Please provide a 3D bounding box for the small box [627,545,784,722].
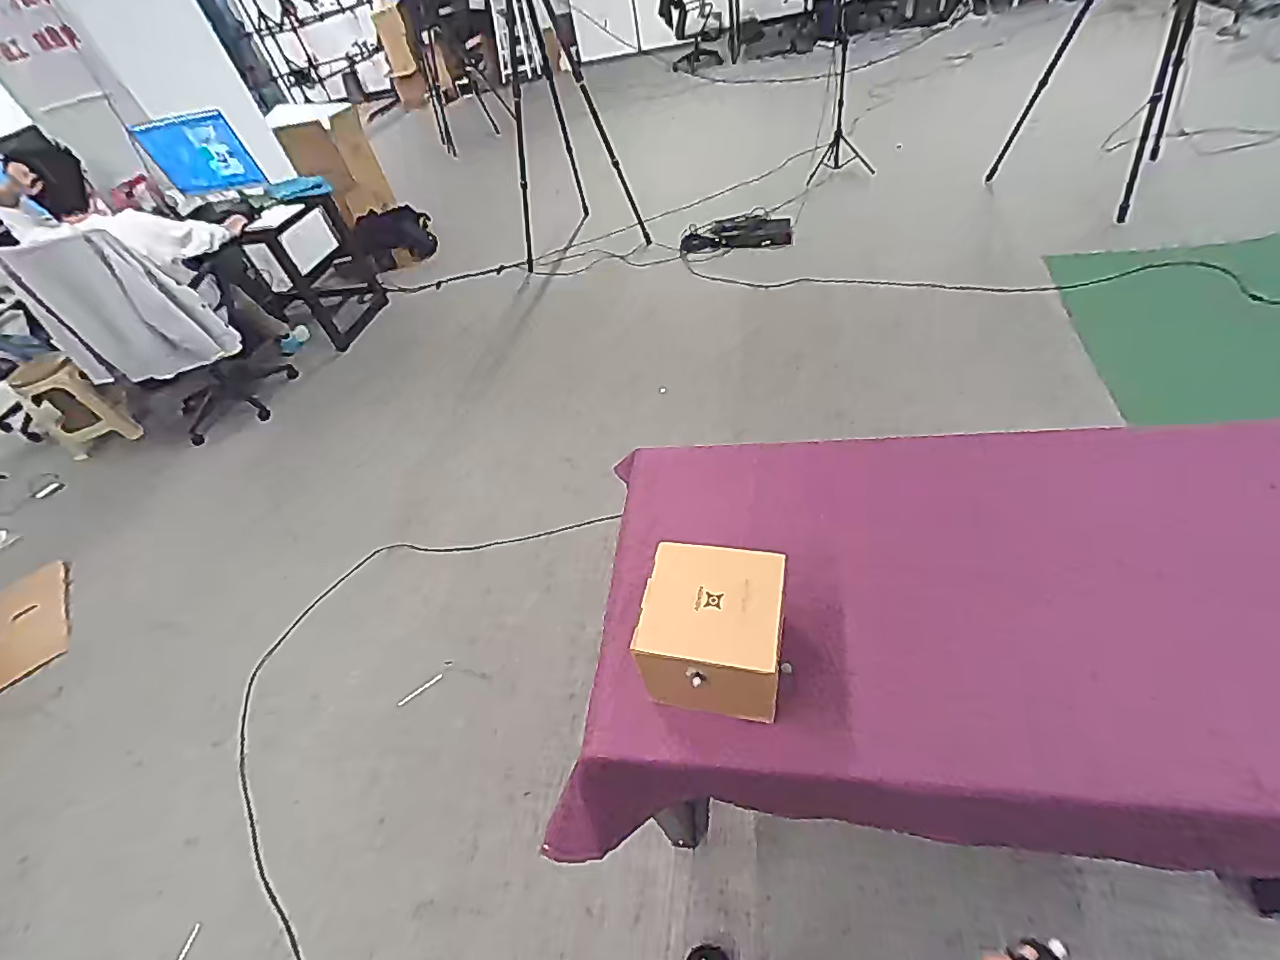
[{"bbox_3d":[0.100,0.211,0.742,0.179,0.176,0.168,4,49,17],"label":"small box"}]
